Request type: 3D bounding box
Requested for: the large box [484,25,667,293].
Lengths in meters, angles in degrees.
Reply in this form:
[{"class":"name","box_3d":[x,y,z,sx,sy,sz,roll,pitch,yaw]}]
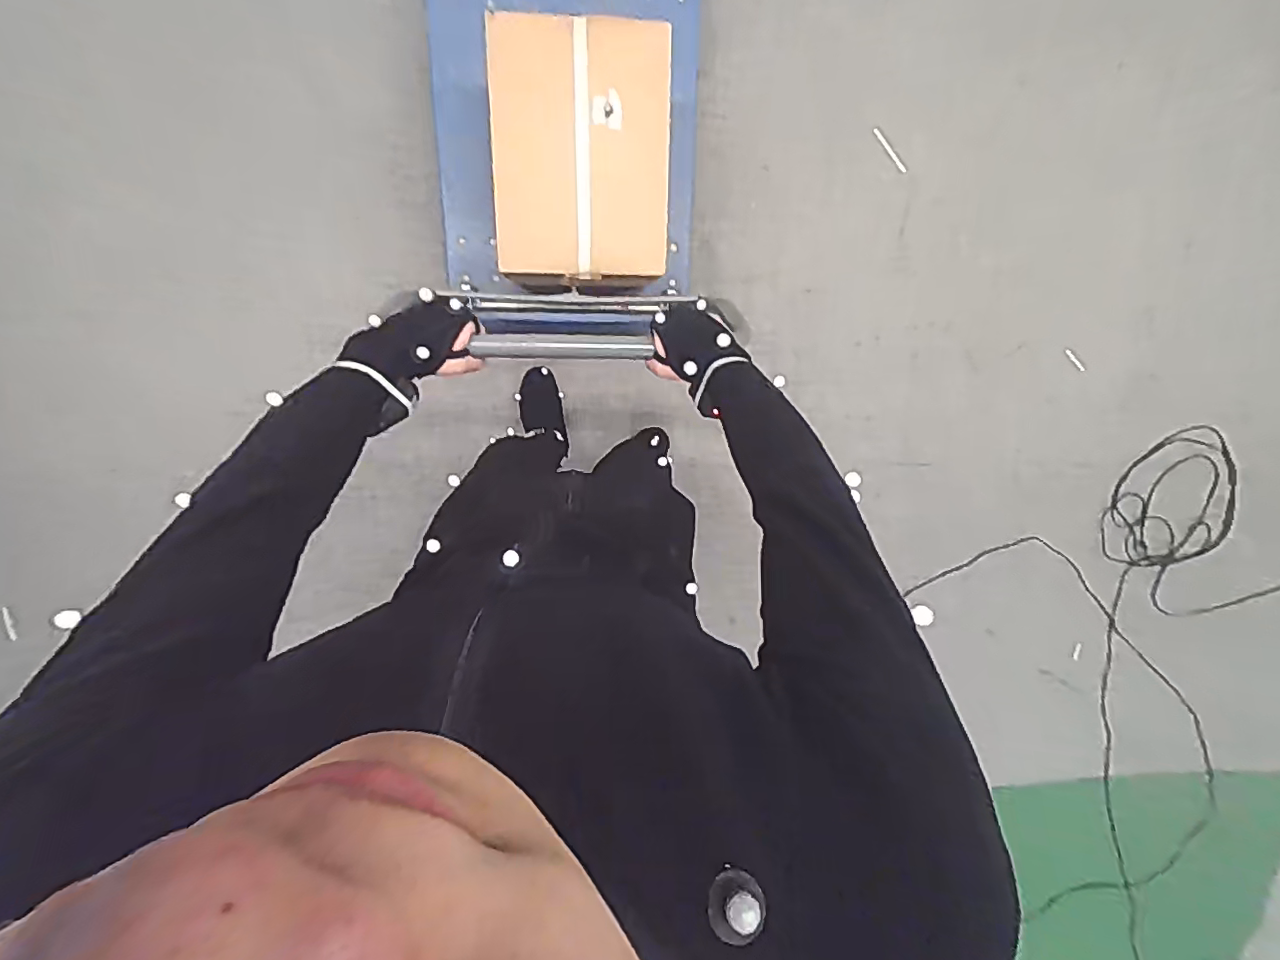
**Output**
[{"class":"large box","box_3d":[-0.121,-0.607,1.106,0.320,0.320,0.408,-2,105,-7]}]
